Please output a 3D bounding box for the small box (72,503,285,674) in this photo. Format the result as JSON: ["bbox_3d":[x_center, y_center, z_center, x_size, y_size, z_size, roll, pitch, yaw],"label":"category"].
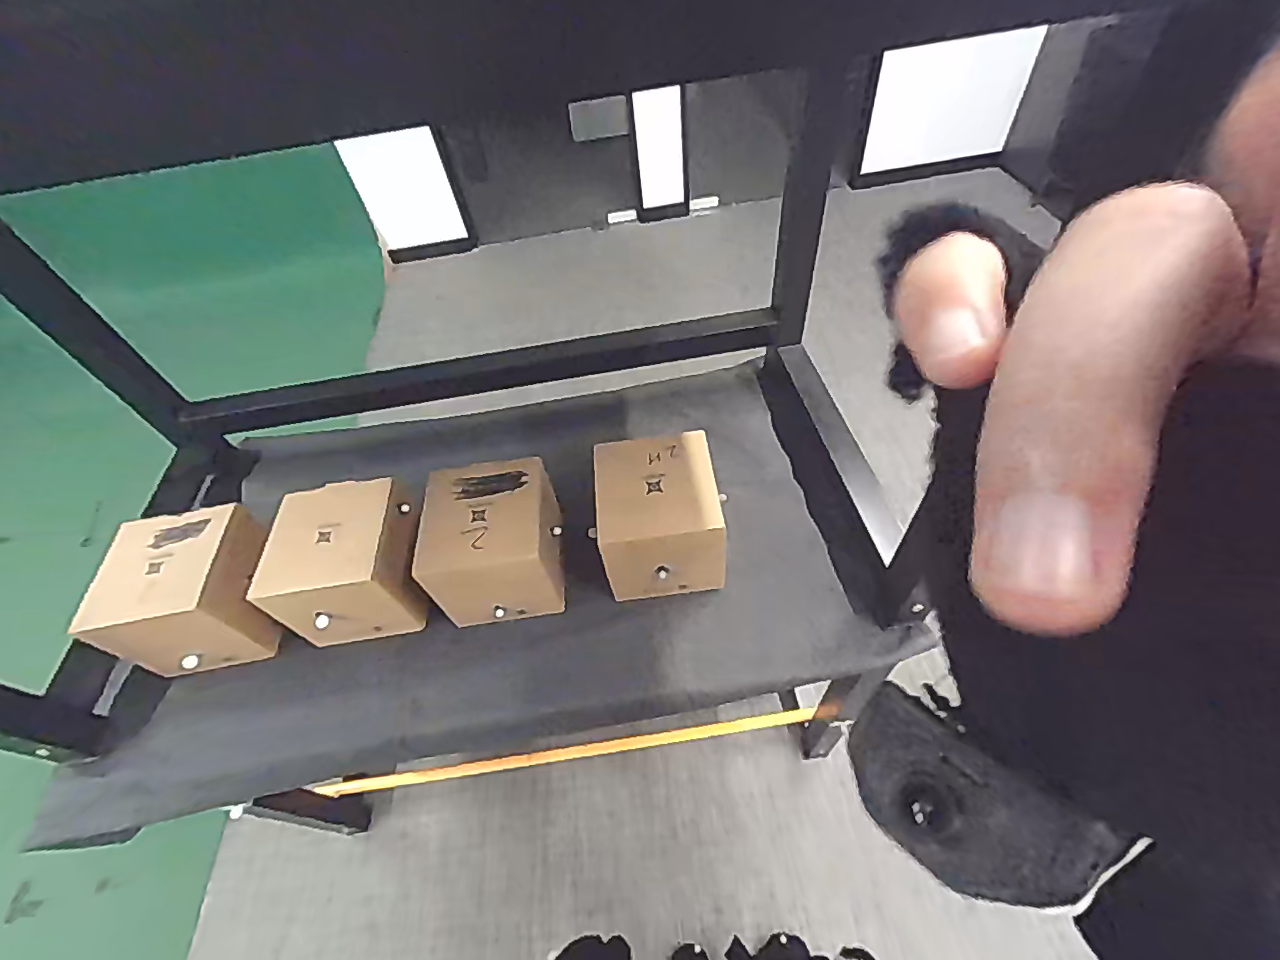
[{"bbox_3d":[-0.647,0.162,0.802,0.168,0.176,0.179,-11,51,-1],"label":"small box"}]

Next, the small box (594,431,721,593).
[{"bbox_3d":[0.027,0.054,0.800,0.168,0.176,0.179,-7,50,2],"label":"small box"}]

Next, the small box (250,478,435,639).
[{"bbox_3d":[-0.423,0.124,0.807,0.168,0.176,0.179,-8,50,0],"label":"small box"}]
